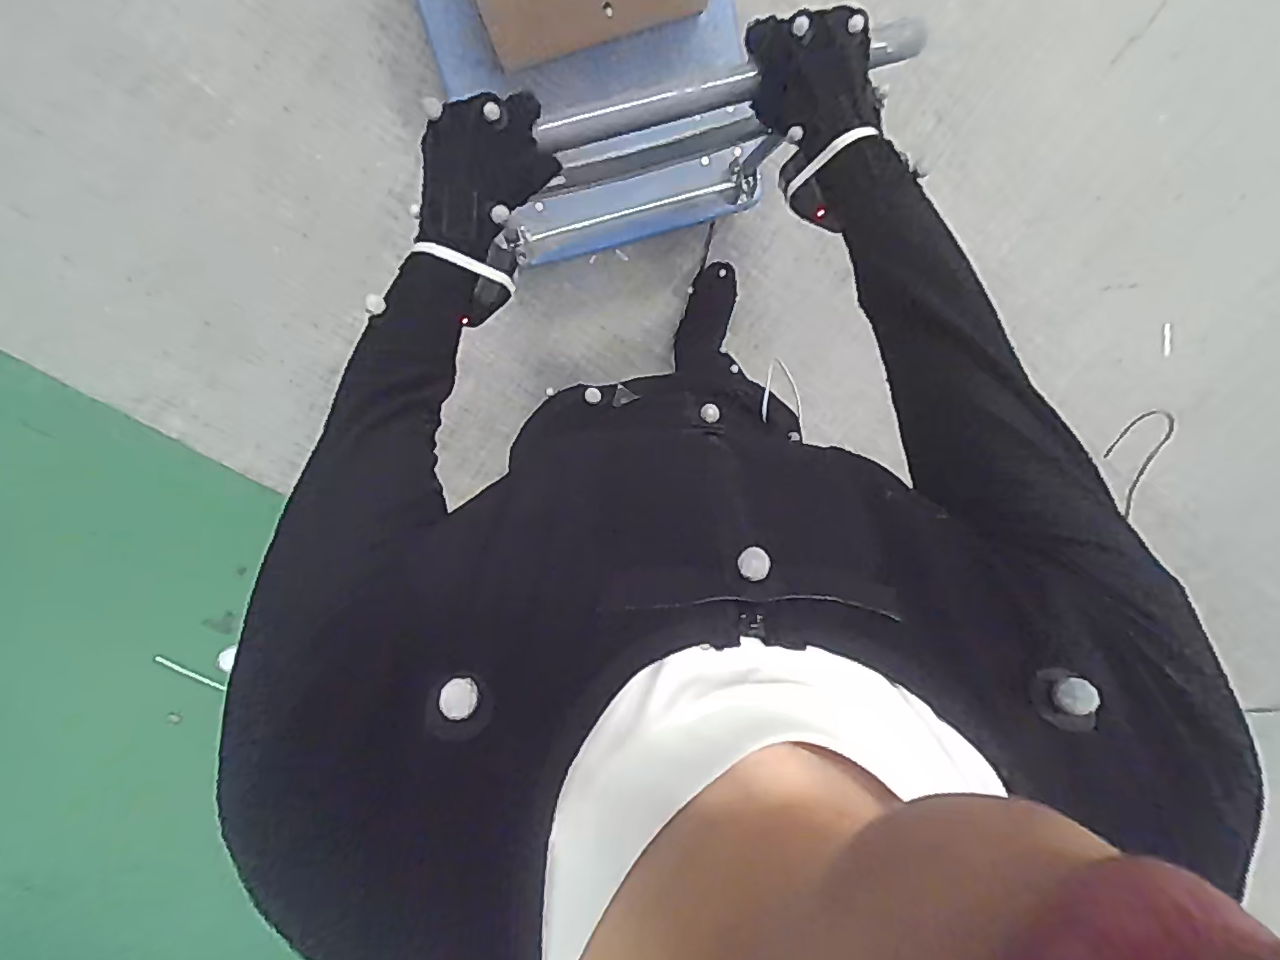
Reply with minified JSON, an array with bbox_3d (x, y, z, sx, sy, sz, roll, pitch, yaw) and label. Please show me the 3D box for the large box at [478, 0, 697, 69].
[{"bbox_3d":[-0.101,-0.931,0.841,0.408,0.320,0.320,-18,108,2],"label":"large box"}]
